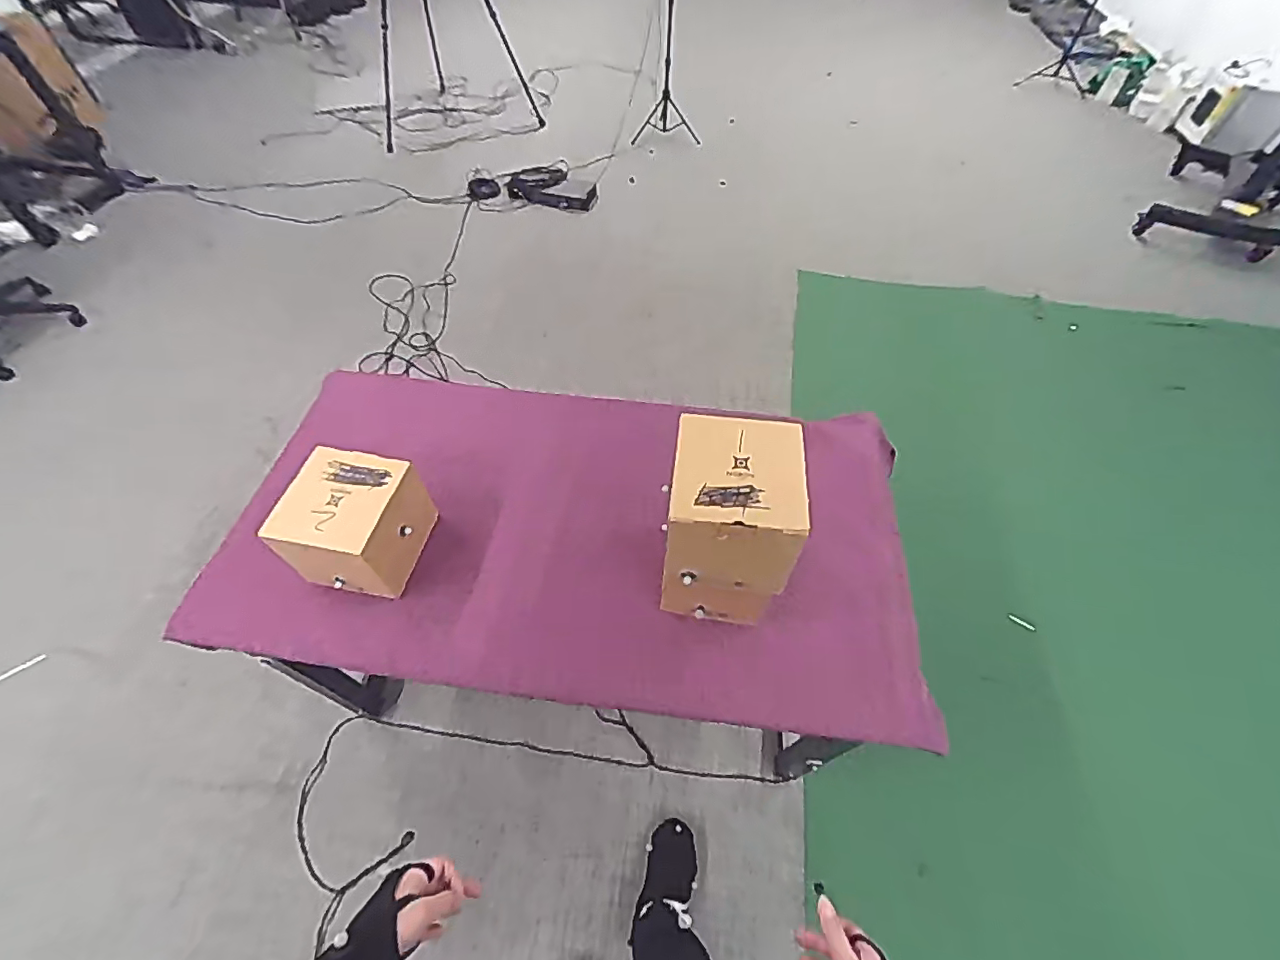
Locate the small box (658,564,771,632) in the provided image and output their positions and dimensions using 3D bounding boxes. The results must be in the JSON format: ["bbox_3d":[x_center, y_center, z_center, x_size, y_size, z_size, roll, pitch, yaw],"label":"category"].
[{"bbox_3d":[0.123,0.126,0.888,0.168,0.176,0.179,8,54,6],"label":"small box"}]

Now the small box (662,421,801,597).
[{"bbox_3d":[0.120,0.044,0.745,0.168,0.176,0.179,6,52,5],"label":"small box"}]
